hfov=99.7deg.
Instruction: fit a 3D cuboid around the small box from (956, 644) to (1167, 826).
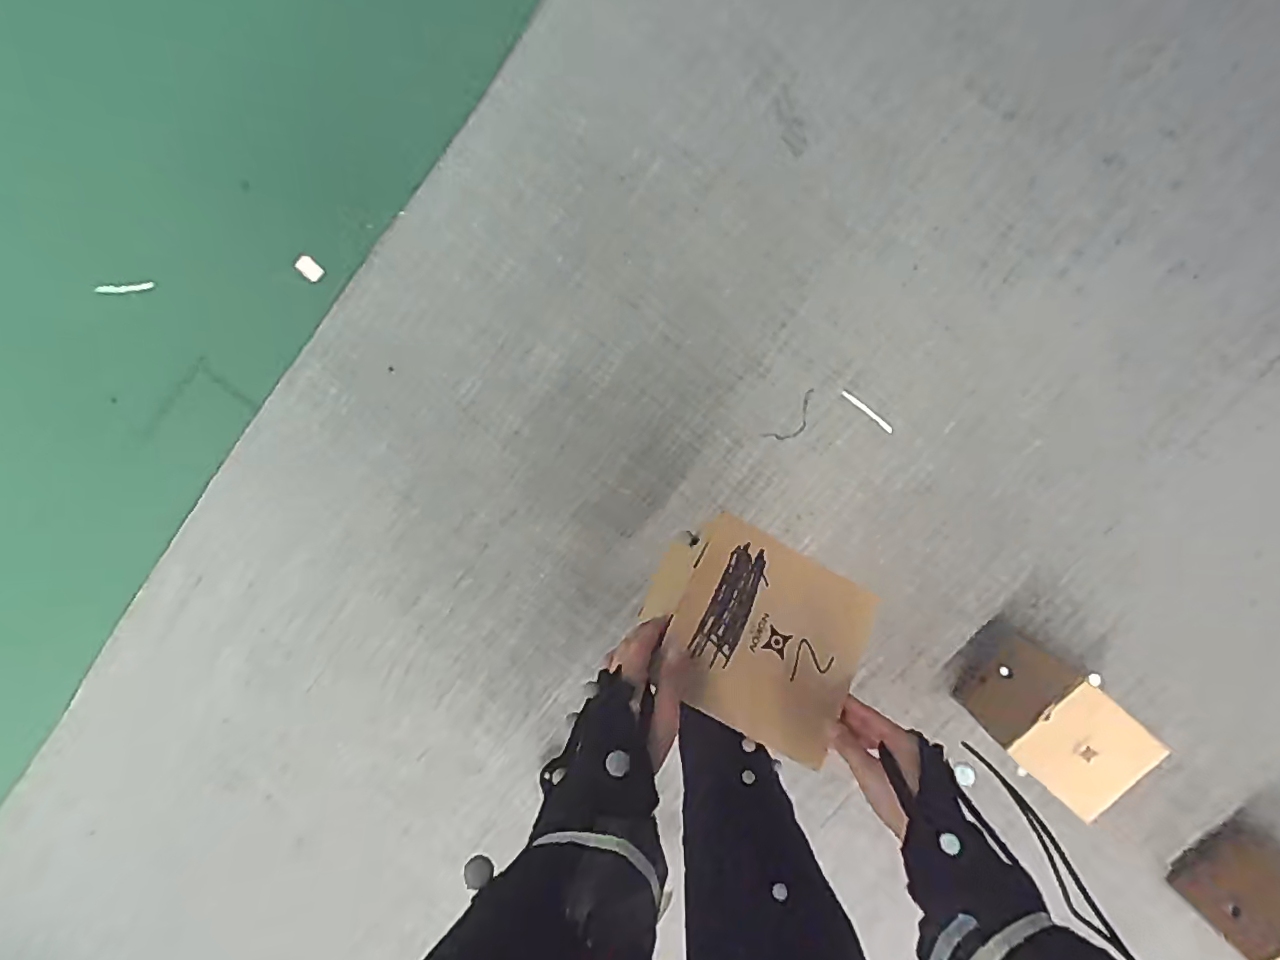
[{"bbox_3d":[0.677,0.407,0.894,0.179,0.176,0.168,41,98,0],"label":"small box"}]
